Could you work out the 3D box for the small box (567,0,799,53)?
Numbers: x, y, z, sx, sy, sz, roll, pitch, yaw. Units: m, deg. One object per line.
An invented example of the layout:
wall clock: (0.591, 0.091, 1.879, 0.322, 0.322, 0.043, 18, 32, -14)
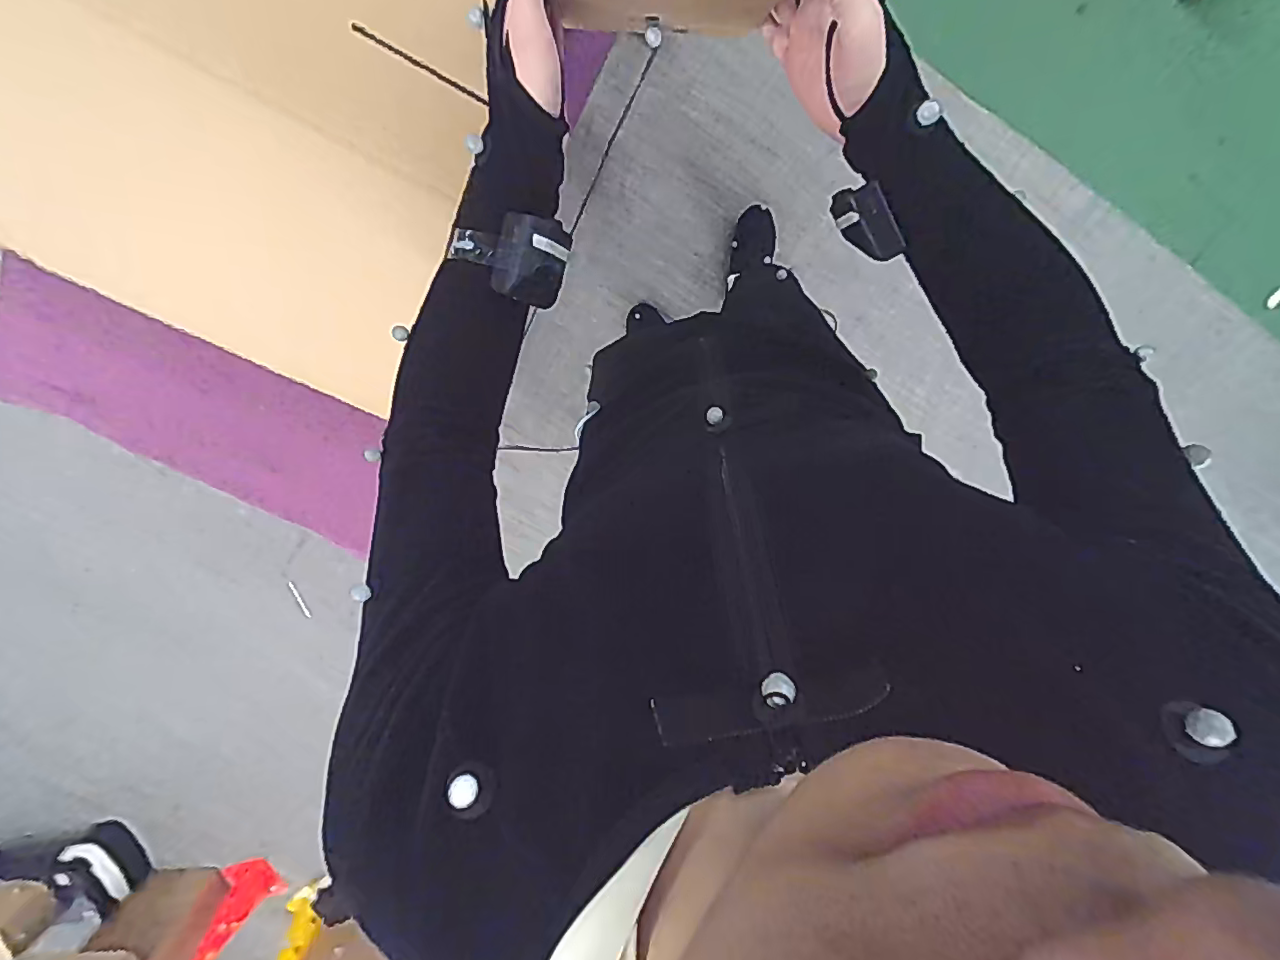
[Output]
small box: (0.027, -0.422, 0.367, 0.168, 0.176, 0.179, 3, 120, -2)
